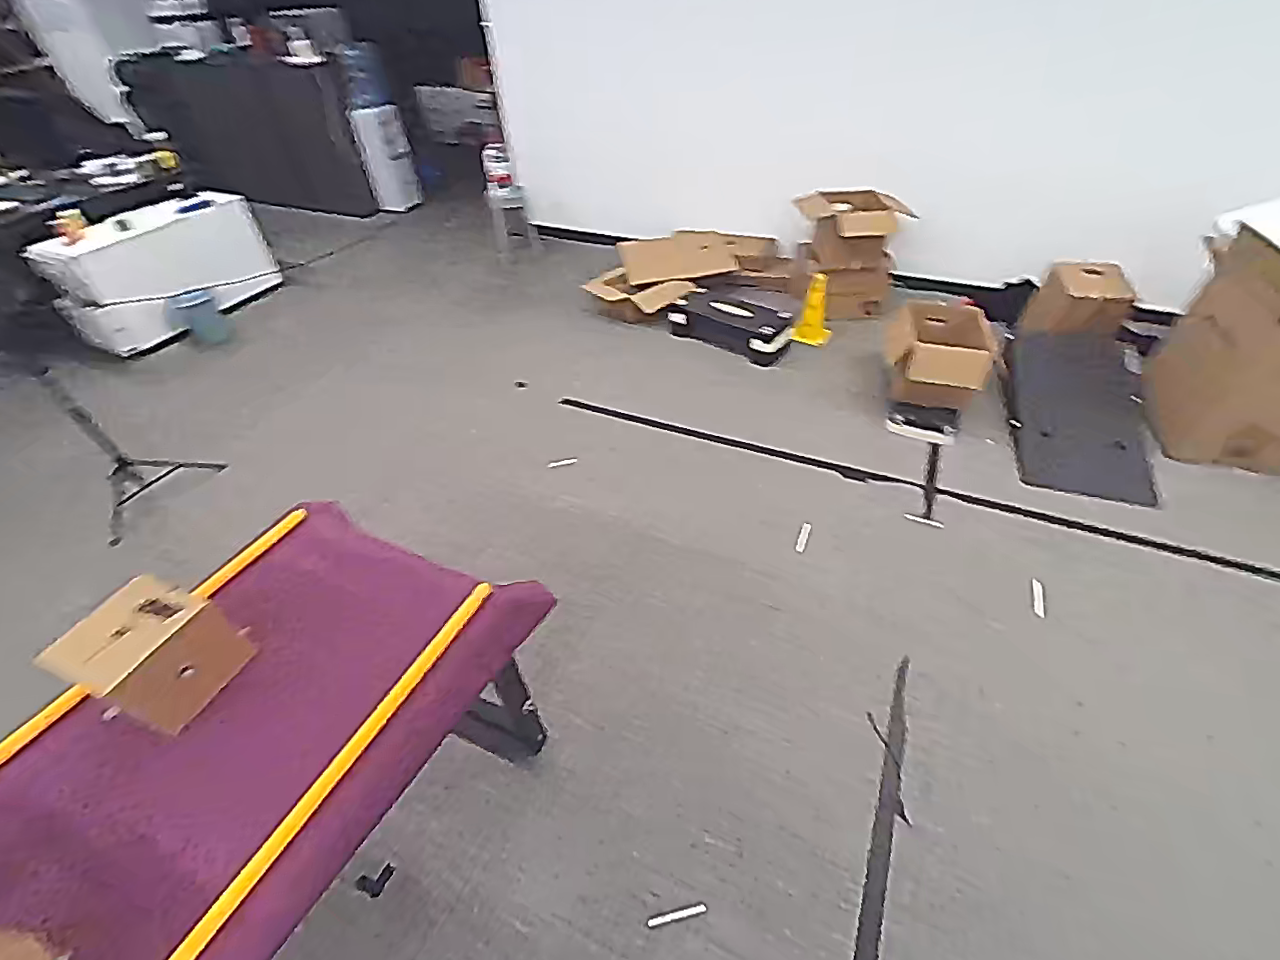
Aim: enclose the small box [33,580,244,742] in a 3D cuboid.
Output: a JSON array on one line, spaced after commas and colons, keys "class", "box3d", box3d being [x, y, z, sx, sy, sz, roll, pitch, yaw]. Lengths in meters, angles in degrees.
[{"class": "small box", "box3d": [-0.823, 0.307, 0.917, 0.168, 0.176, 0.179, 15, 48, 16]}]
